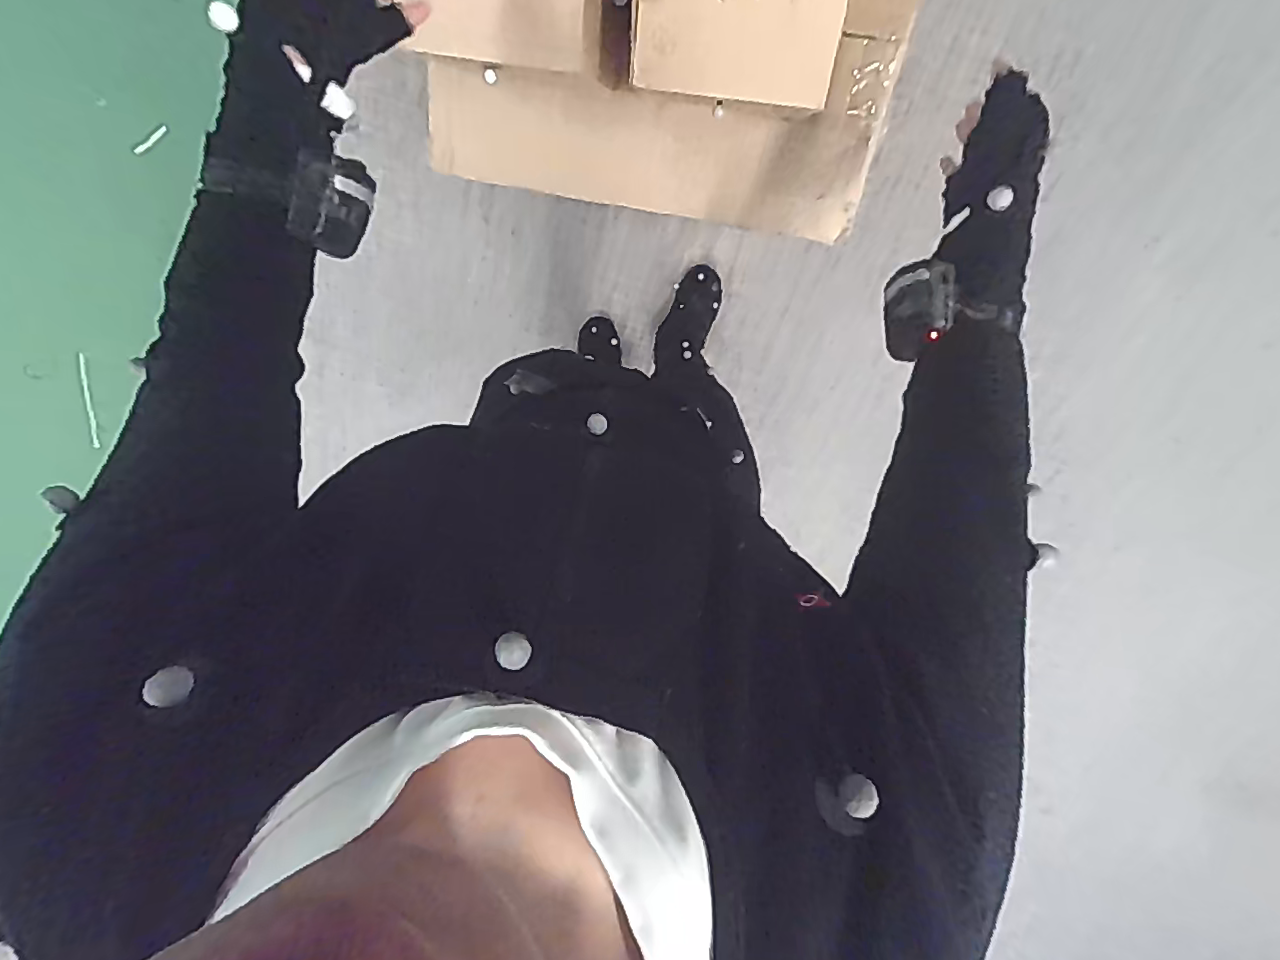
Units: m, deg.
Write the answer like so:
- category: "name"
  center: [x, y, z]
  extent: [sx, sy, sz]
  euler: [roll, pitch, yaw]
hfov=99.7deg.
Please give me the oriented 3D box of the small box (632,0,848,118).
- category: "small box"
  center: [0.095, -0.451, 0.511]
  extent: [0.179, 0.176, 0.168]
  euler: [8, 122, 2]

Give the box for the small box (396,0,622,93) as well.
- category: "small box"
  center: [-0.116, -0.487, 0.520]
  extent: [0.179, 0.176, 0.168]
  euler: [10, 122, 2]
